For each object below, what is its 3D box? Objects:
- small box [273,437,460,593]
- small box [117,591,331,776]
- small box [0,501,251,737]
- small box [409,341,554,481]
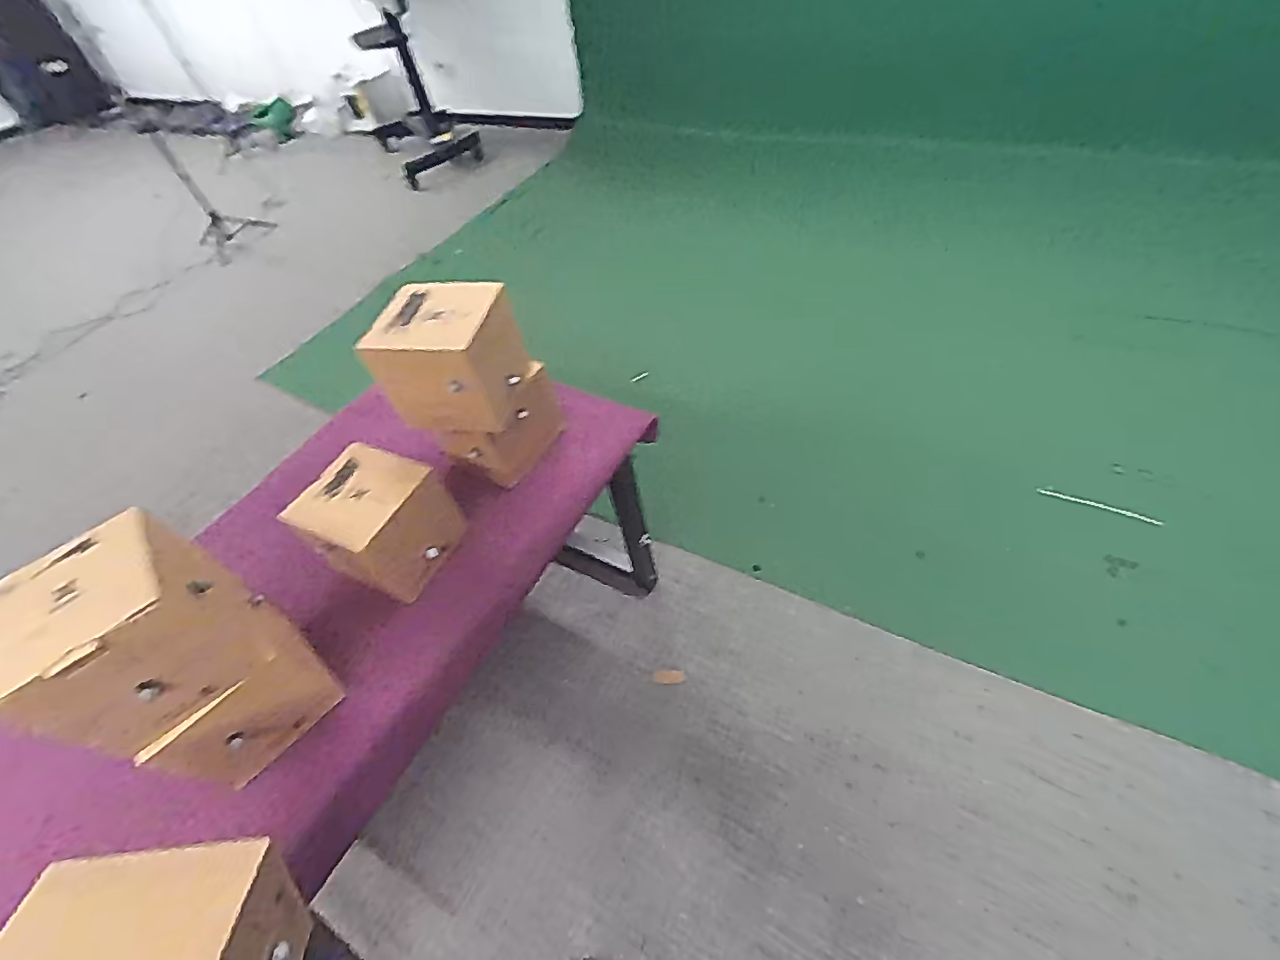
[{"bbox_3d":[-0.433,0.061,0.885,0.179,0.176,0.168,17,56,20],"label":"small box"},{"bbox_3d":[-0.568,0.272,0.737,0.179,0.176,0.168,32,63,30],"label":"small box"},{"bbox_3d":[-0.590,0.164,0.616,0.168,0.176,0.179,-37,56,-20],"label":"small box"},{"bbox_3d":[-0.283,-0.127,1.012,0.168,0.176,0.179,21,58,24],"label":"small box"}]
